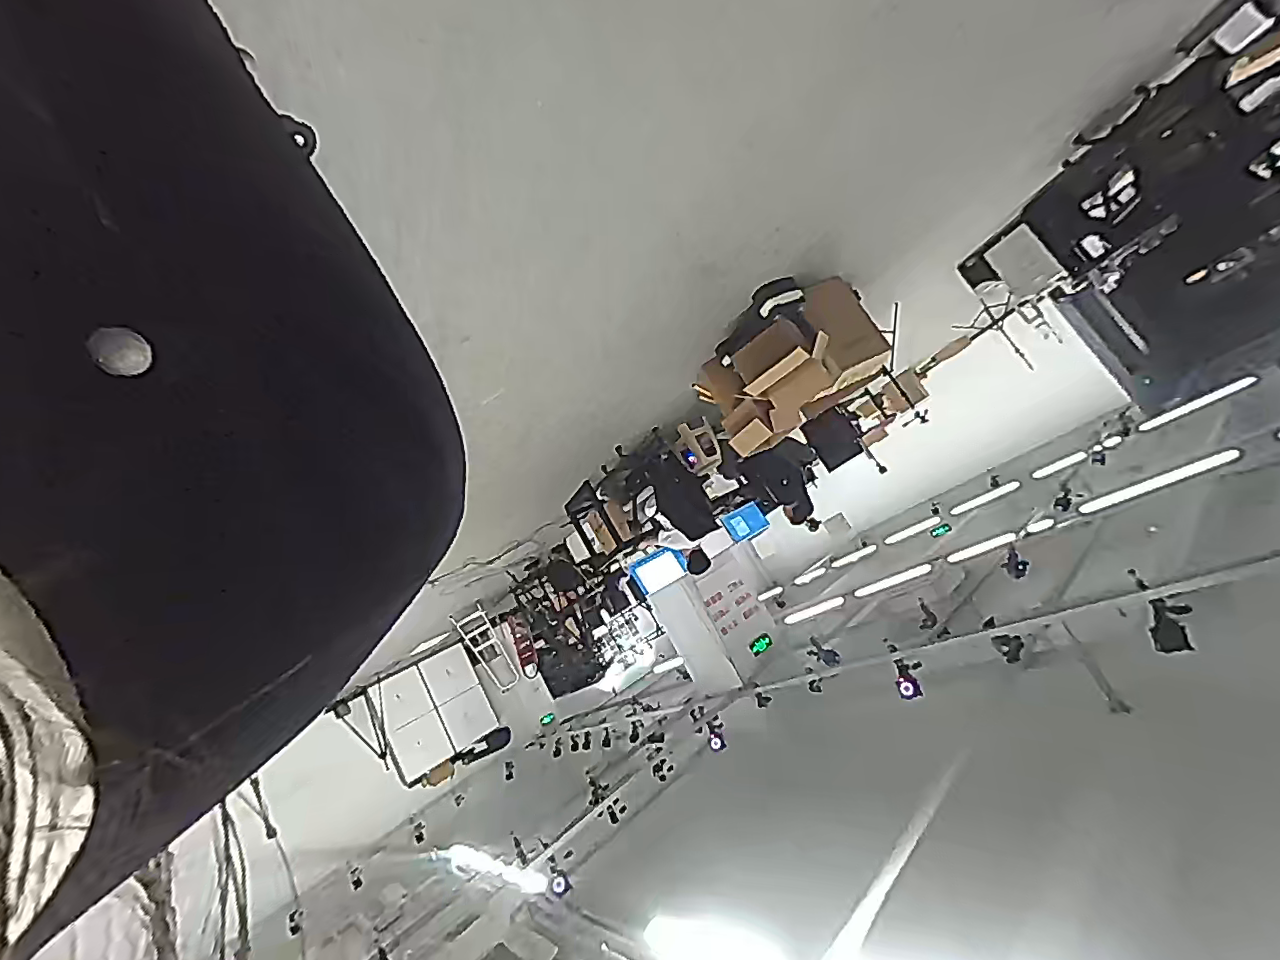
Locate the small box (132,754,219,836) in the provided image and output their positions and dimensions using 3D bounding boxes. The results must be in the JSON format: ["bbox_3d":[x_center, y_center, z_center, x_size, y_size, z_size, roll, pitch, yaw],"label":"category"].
[{"bbox_3d":[-1.551,1.047,1.804,0.179,0.176,0.168,-24,167,-37],"label":"small box"}]

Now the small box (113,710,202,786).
[{"bbox_3d":[-1.632,0.907,1.832,0.179,0.176,0.168,-21,164,-38],"label":"small box"}]
